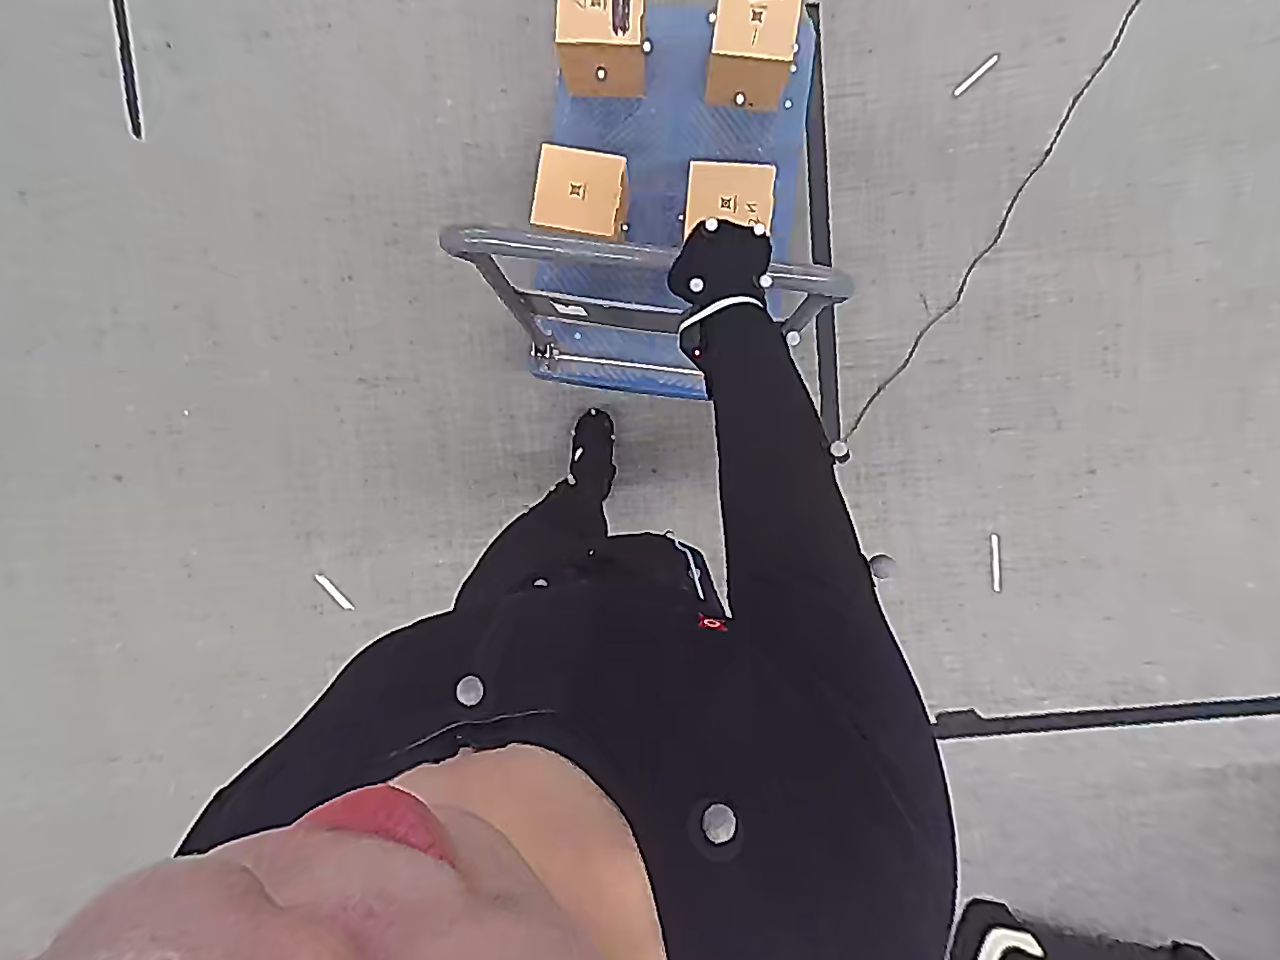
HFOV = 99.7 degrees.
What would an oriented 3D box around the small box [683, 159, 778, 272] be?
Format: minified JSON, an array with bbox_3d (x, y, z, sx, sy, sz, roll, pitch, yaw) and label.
[{"bbox_3d":[0.187,-0.563,1.170,0.179,0.176,0.168,5,93,2],"label":"small box"}]

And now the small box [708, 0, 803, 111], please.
[{"bbox_3d":[0.240,-0.936,1.152,0.168,0.176,0.179,8,94,2],"label":"small box"}]

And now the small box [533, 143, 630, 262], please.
[{"bbox_3d":[-0.120,-0.596,1.181,0.179,0.176,0.168,9,92,0],"label":"small box"}]
